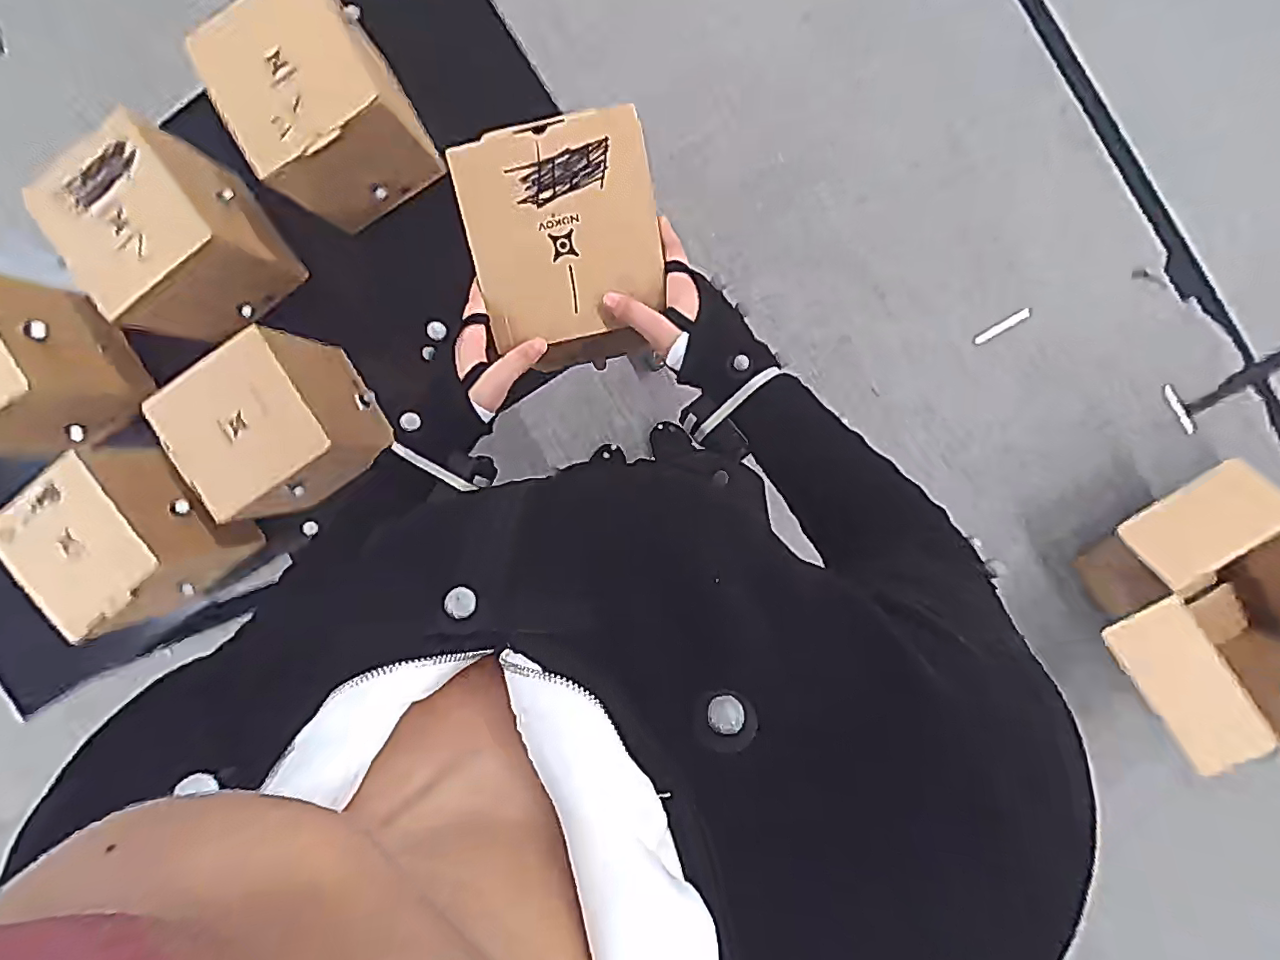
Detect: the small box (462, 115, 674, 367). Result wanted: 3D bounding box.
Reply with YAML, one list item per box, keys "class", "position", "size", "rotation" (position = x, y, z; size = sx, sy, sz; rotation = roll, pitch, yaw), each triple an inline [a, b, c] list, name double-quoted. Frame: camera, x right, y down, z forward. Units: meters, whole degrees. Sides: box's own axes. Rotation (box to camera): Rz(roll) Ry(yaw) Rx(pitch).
- class: "small box"
  position: [-0.058, -0.223, 0.553]
  size: [0.168, 0.176, 0.179]
  rotation: [-9, 95, 6]

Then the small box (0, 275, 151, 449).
- class: "small box"
  position: [-0.830, -0.150, 0.720]
  size: [0.168, 0.176, 0.179]
  rotation: [-31, 92, 5]

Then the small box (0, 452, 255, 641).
- class: "small box"
  position: [-0.678, 0.074, 0.725]
  size: [0.168, 0.176, 0.179]
  rotation: [-38, 91, 6]

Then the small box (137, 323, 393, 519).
- class: "small box"
  position: [-0.466, -0.071, 0.702]
  size: [0.179, 0.176, 0.168]
  rotation: [-33, 92, 5]

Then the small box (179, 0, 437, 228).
- class: "small box"
  position: [-0.390, -0.453, 0.667]
  size: [0.168, 0.176, 0.179]
  rotation: [-30, 92, 6]
